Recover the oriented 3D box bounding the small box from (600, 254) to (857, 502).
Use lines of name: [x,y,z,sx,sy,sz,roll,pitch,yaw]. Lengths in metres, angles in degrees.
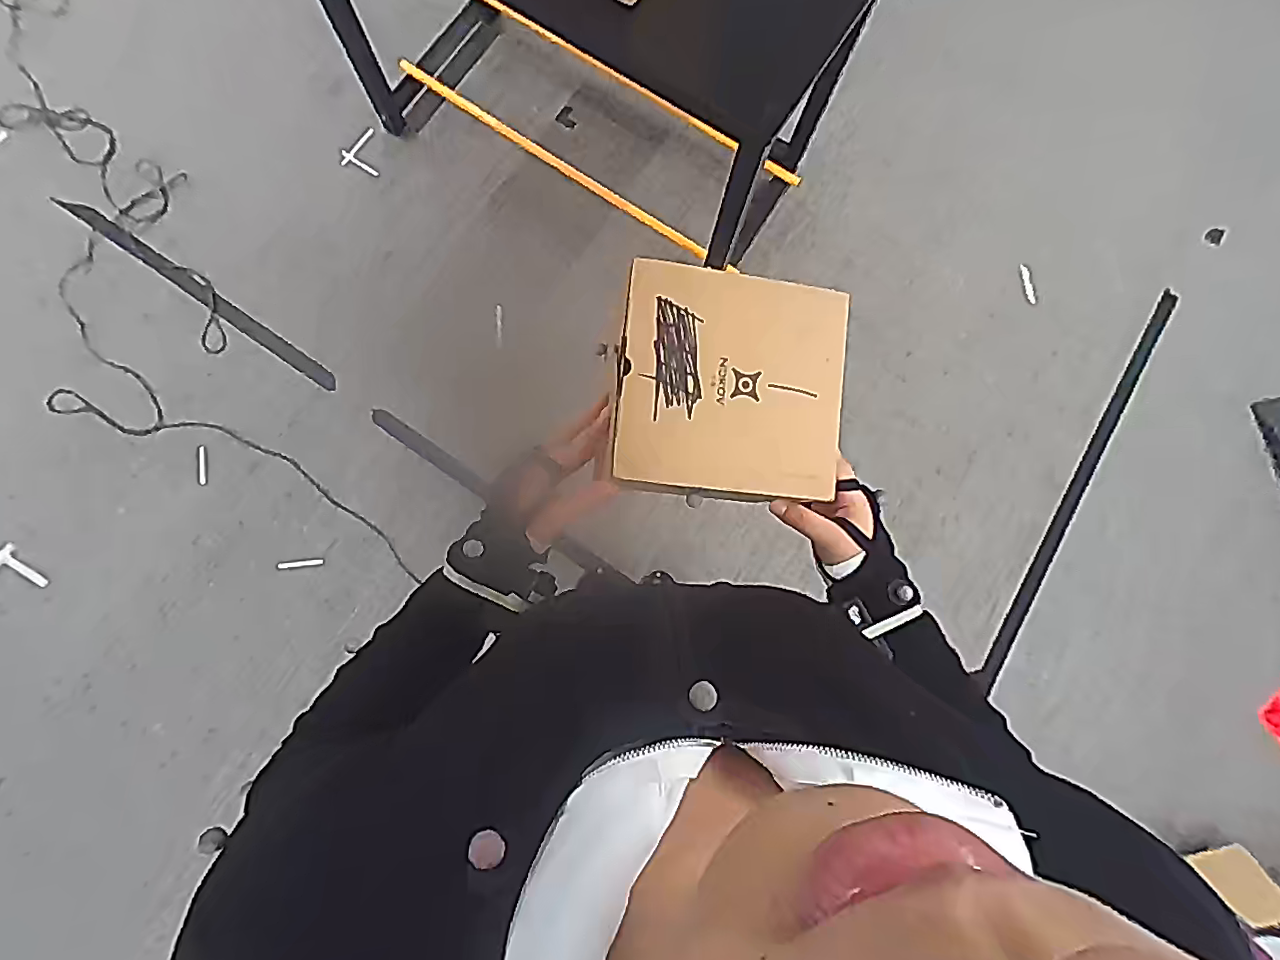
small box: [0.062,-0.070,0.475,0.179,0.176,0.168,6,87,-9]
